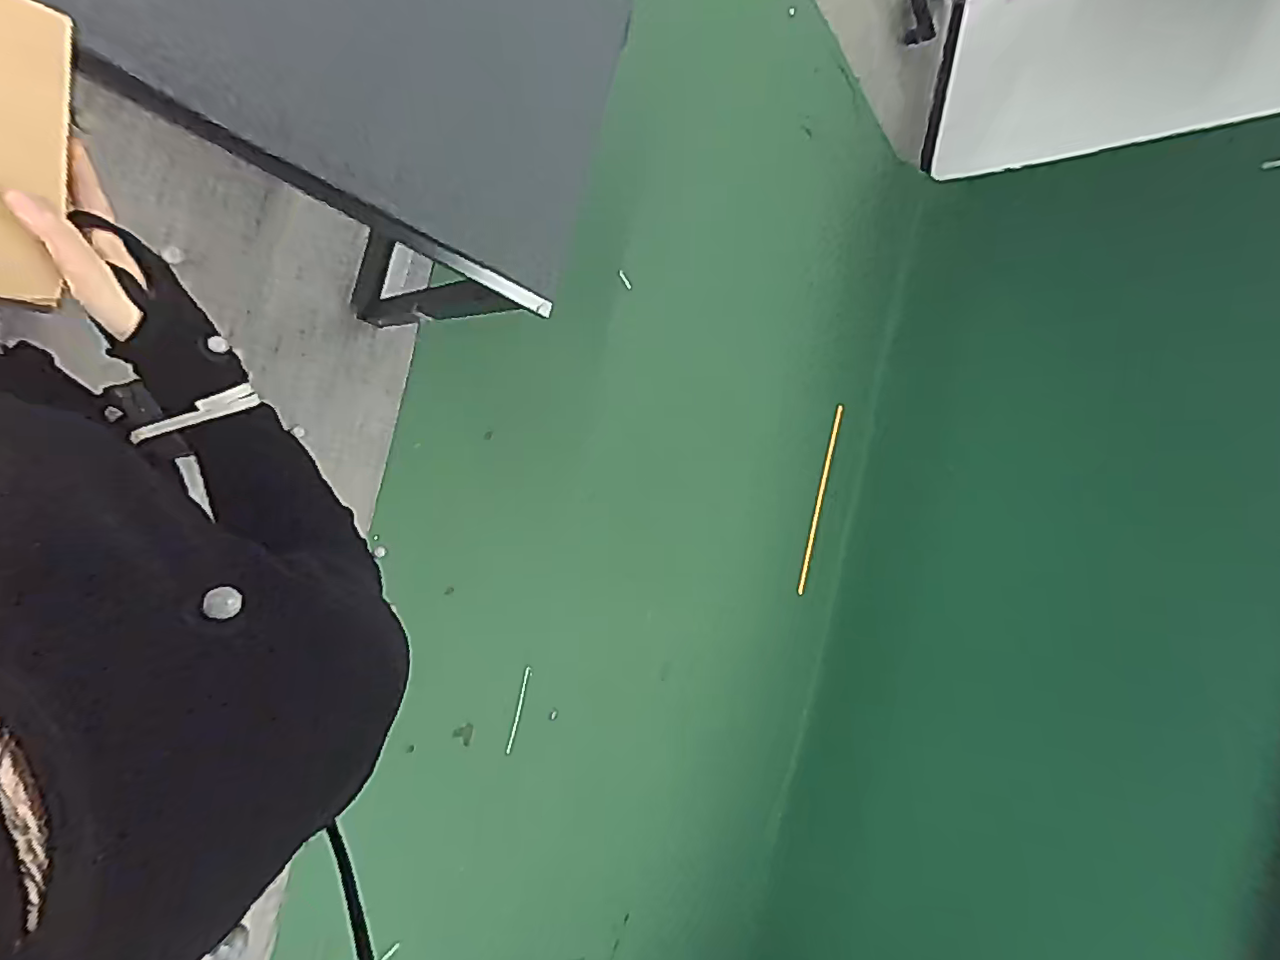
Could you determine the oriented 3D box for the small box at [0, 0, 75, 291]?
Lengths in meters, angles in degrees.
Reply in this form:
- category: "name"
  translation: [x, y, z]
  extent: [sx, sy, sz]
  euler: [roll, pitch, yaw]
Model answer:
- category: "small box"
  translation: [-0.466, -0.224, 0.319]
  extent: [0.168, 0.176, 0.179]
  euler: [3, 99, -50]
